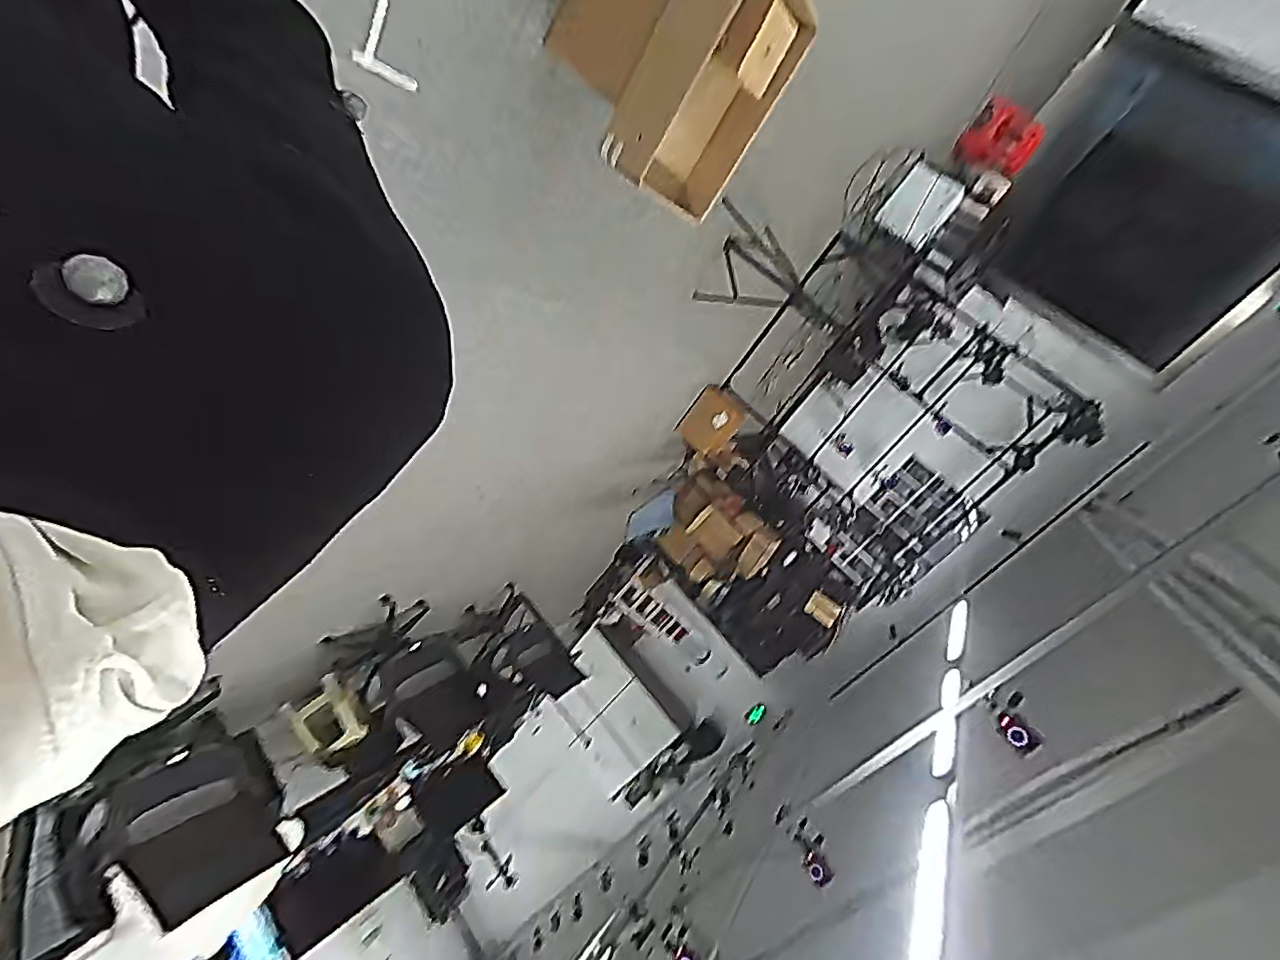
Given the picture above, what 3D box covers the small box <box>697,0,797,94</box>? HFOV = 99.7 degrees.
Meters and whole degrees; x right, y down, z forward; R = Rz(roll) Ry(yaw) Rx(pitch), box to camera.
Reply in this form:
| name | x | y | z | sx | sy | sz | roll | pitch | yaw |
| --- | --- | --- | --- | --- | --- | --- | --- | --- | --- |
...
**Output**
| name | x | y | z | sx | sy | sz | roll | pitch | yaw |
| --- | --- | --- | --- | --- | --- | --- | --- | --- | --- |
| small box | 0.276 | -1.184 | 1.435 | 0.168 | 0.176 | 0.179 | -17 | 146 | -55 |
